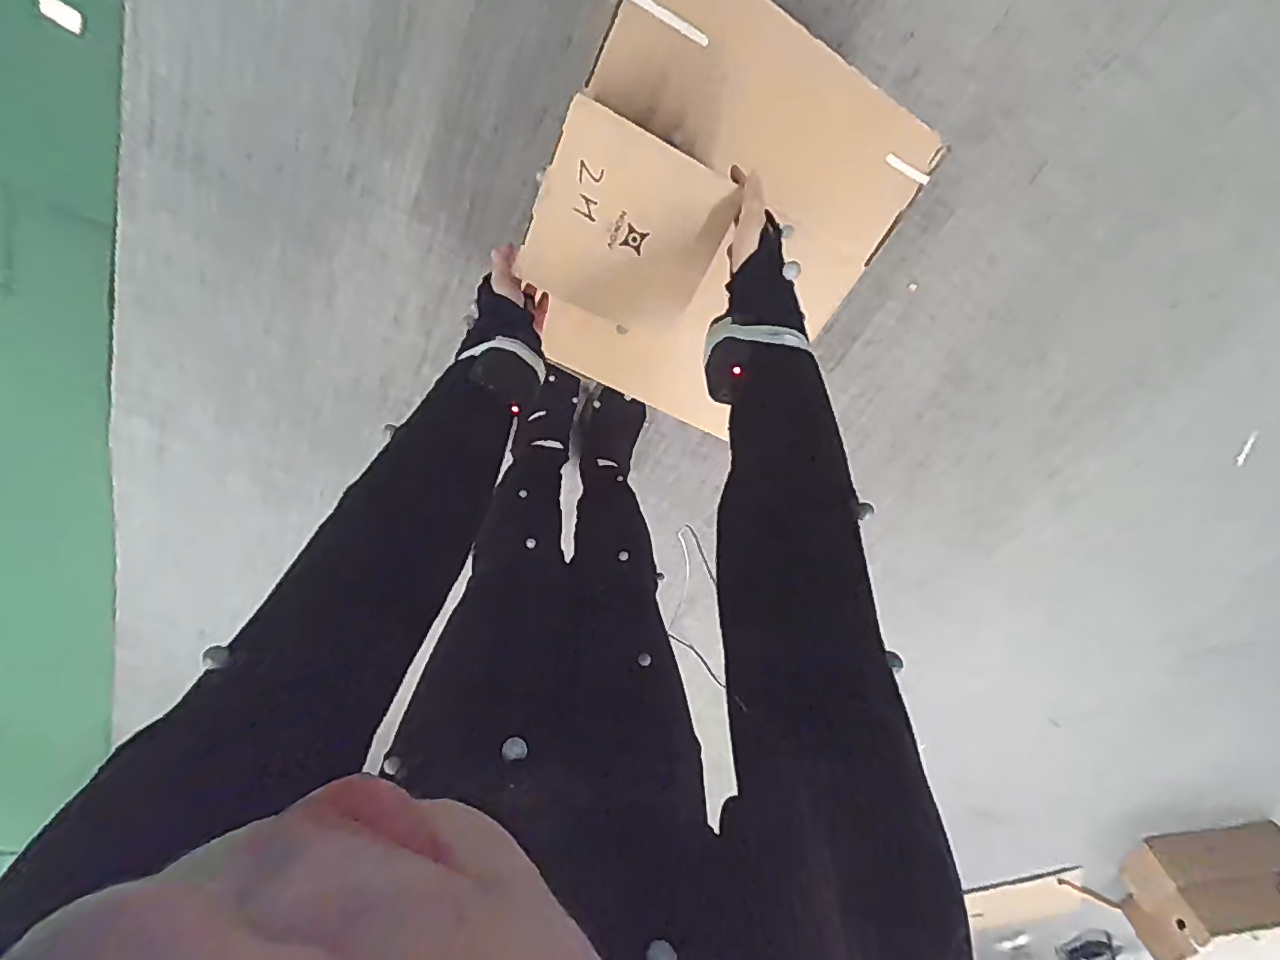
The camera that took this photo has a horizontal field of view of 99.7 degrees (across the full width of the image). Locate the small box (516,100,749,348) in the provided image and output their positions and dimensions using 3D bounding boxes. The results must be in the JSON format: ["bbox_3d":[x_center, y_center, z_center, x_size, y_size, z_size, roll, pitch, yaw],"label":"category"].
[{"bbox_3d":[-0.014,-0.274,0.583,0.179,0.176,0.168,22,118,-17],"label":"small box"}]
